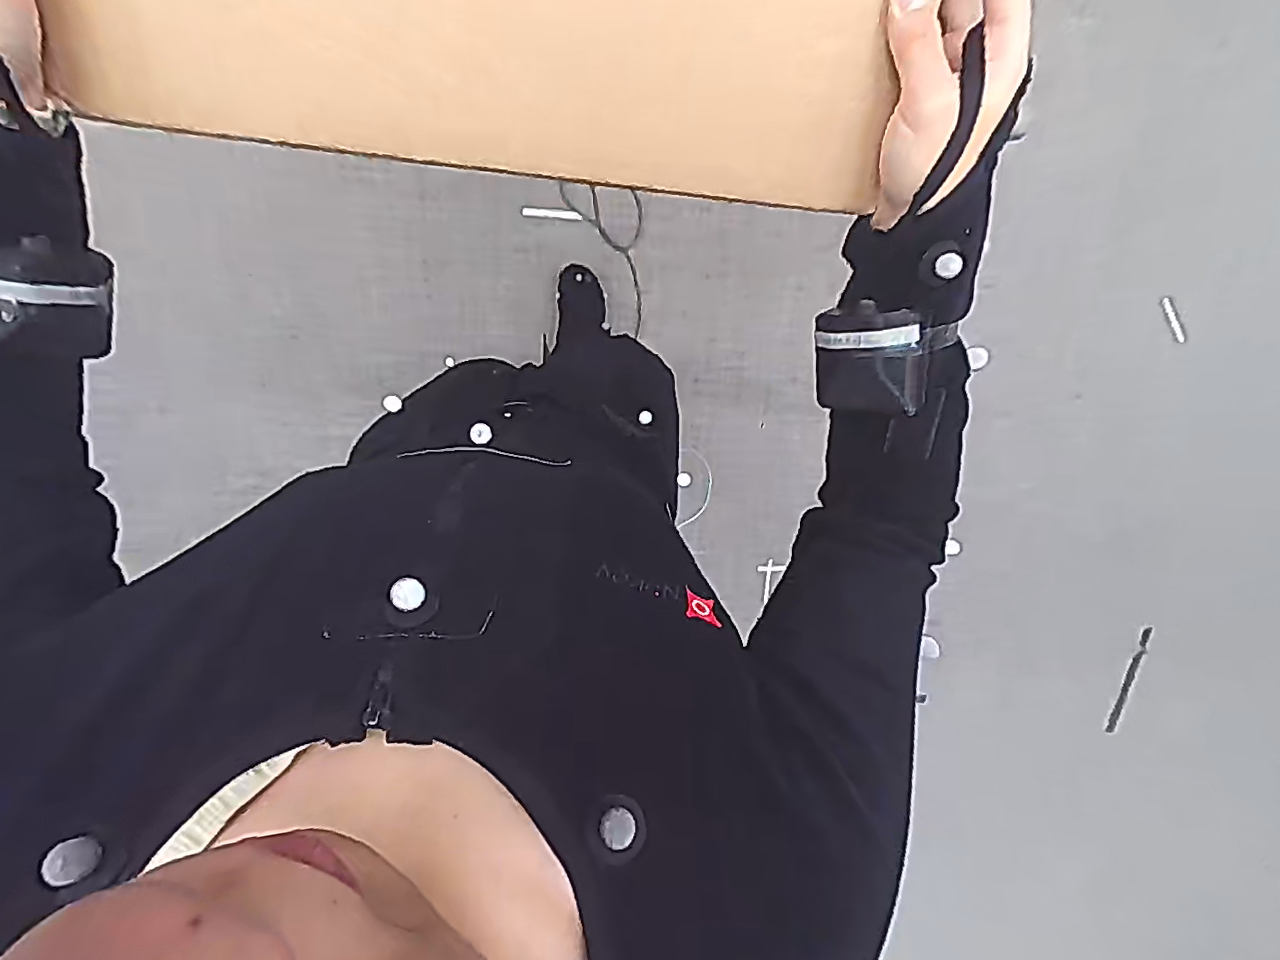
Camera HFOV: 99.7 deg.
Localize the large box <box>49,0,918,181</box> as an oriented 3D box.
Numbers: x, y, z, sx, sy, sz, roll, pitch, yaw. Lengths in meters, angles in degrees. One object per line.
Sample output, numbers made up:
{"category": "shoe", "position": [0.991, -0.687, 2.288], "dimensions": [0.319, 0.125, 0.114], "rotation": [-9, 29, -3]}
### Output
{"category": "large box", "position": [-0.065, -0.381, 0.330], "dimensions": [0.408, 0.320, 0.320], "rotation": [3, 121, -6]}
